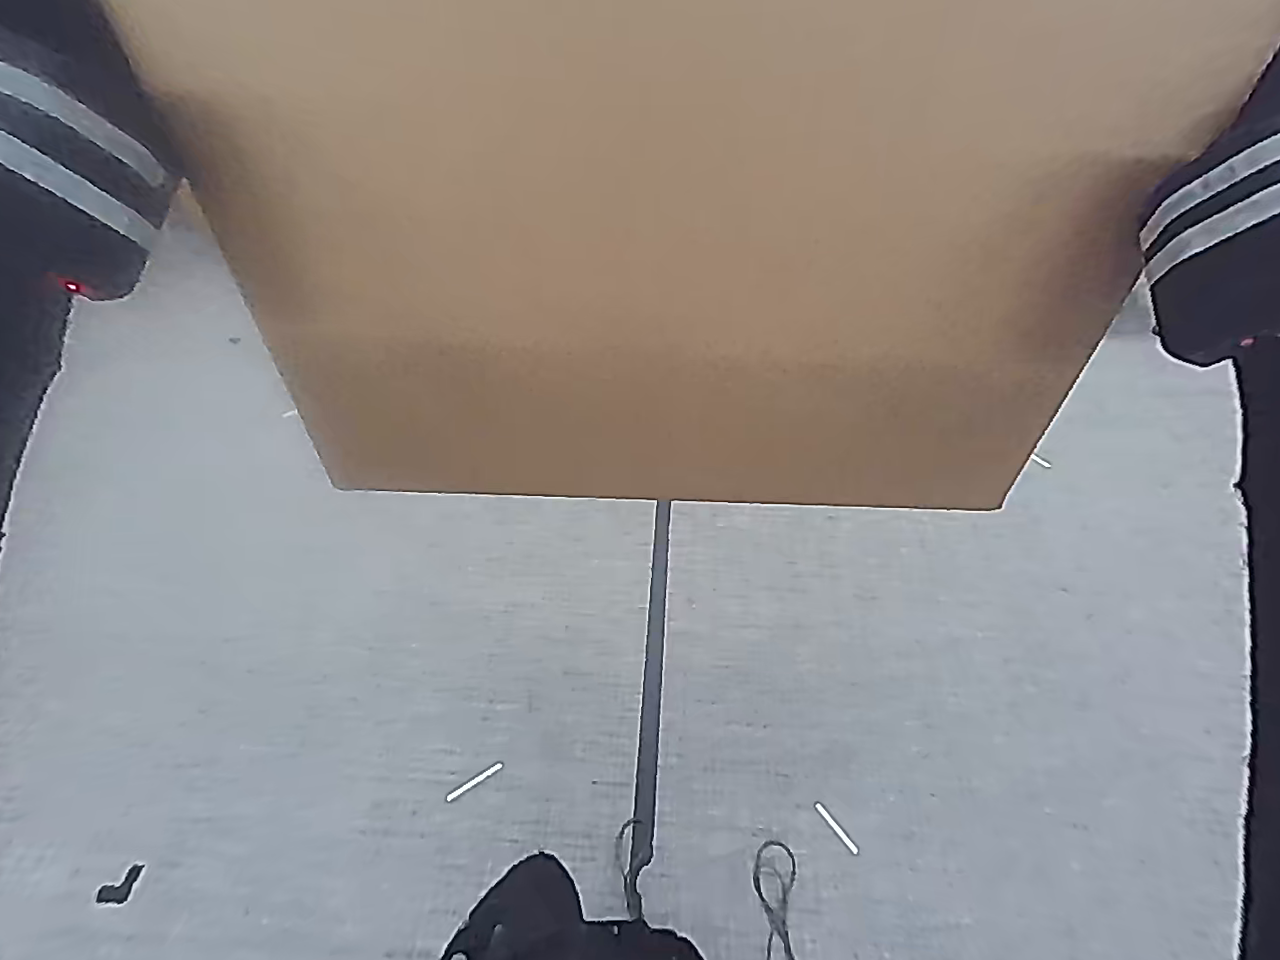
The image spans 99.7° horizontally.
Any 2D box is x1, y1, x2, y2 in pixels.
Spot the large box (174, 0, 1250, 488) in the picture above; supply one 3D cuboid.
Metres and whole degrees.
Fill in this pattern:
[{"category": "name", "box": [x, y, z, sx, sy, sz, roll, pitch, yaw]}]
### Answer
[{"category": "large box", "box": [0.023, -0.207, 0.360, 0.408, 0.320, 0.320, 2, 40, 0]}]
